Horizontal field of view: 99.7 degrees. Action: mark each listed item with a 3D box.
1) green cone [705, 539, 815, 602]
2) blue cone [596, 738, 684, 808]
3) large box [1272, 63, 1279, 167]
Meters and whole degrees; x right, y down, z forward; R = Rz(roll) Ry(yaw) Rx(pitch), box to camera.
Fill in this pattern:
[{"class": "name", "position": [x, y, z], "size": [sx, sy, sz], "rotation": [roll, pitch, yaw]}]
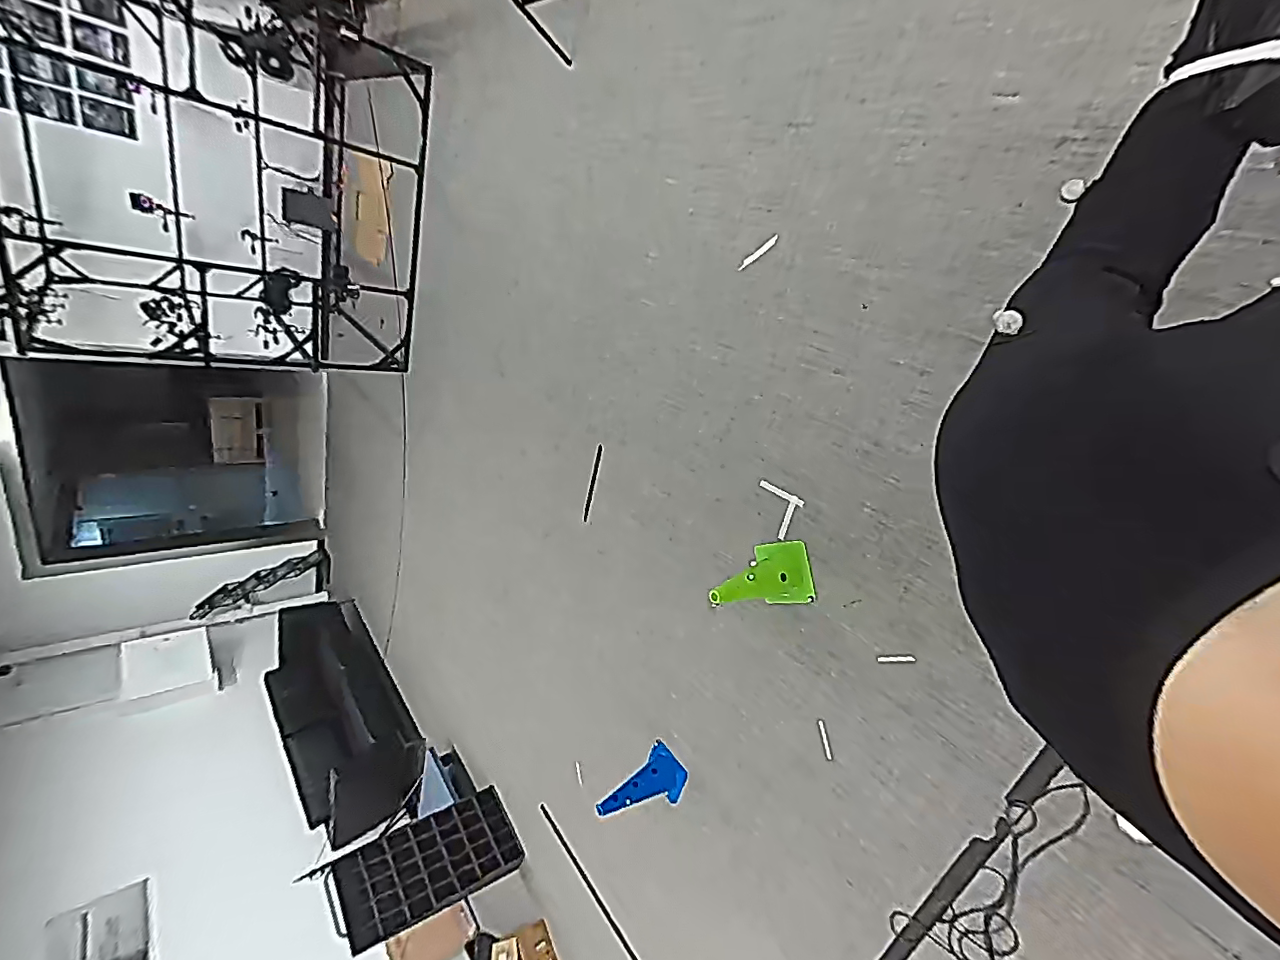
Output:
[{"class": "green cone", "position": [0.342, 0.311, 1.664], "size": [0.202, 0.368, 0.200], "rotation": [-17, 81, 50]}, {"class": "blue cone", "position": [-0.013, 1.242, 2.200], "size": [0.192, 0.380, 0.193], "rotation": [40, 122, 40]}, {"class": "large box", "position": [0.680, -0.351, 0.266], "size": [0.408, 0.320, 0.320], "rotation": [33, 124, 40]}]
